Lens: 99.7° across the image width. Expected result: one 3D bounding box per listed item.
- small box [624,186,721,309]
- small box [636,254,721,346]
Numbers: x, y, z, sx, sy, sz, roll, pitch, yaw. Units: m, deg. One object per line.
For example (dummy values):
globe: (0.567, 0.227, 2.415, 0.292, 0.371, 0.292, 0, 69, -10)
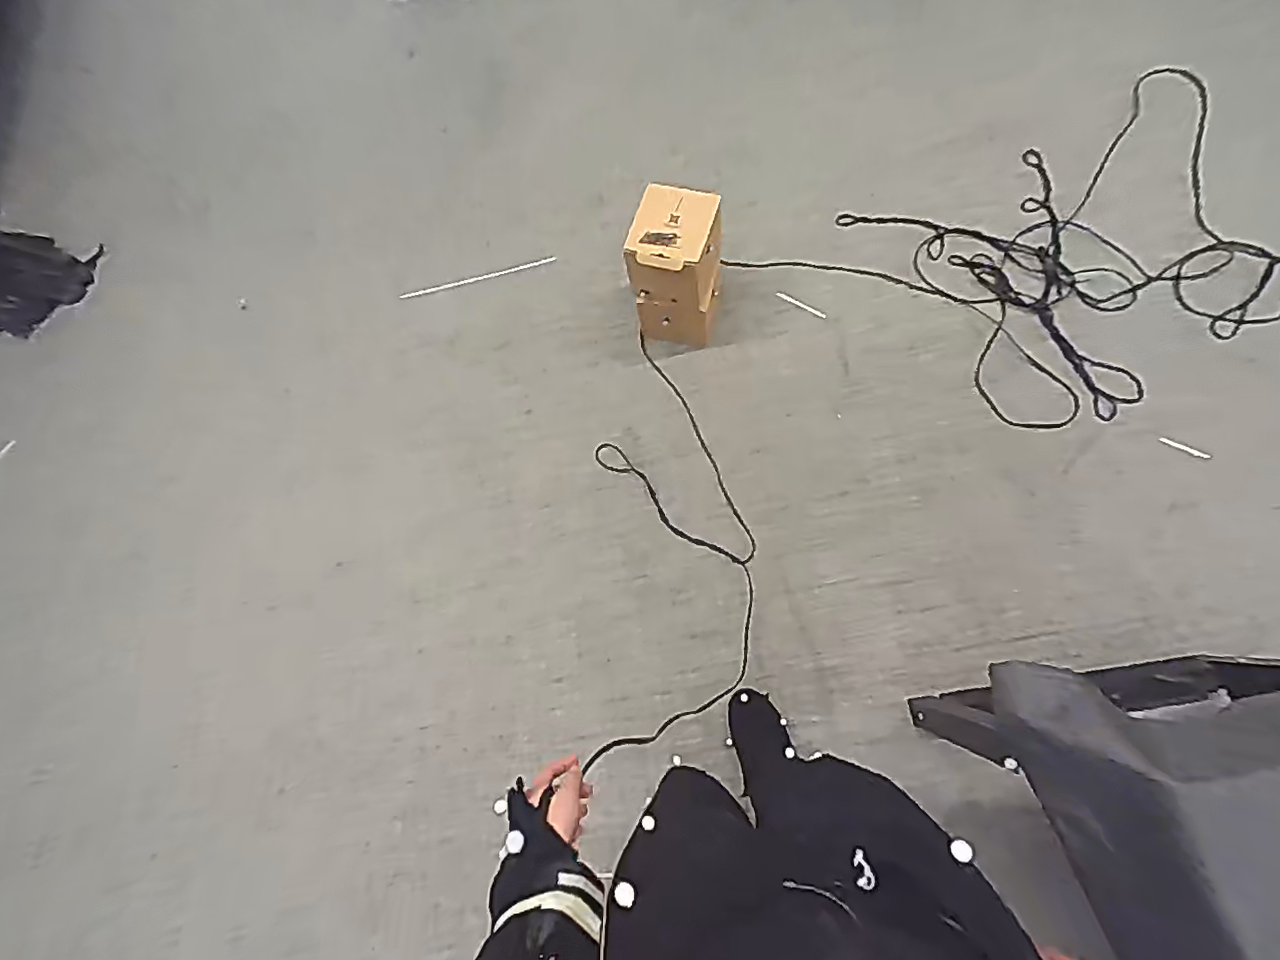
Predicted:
small box: (0.079, -0.511, 1.206, 0.168, 0.176, 0.179, 17, 77, 12)
small box: (0.103, -0.456, 1.360, 0.179, 0.176, 0.168, 11, 76, 11)
